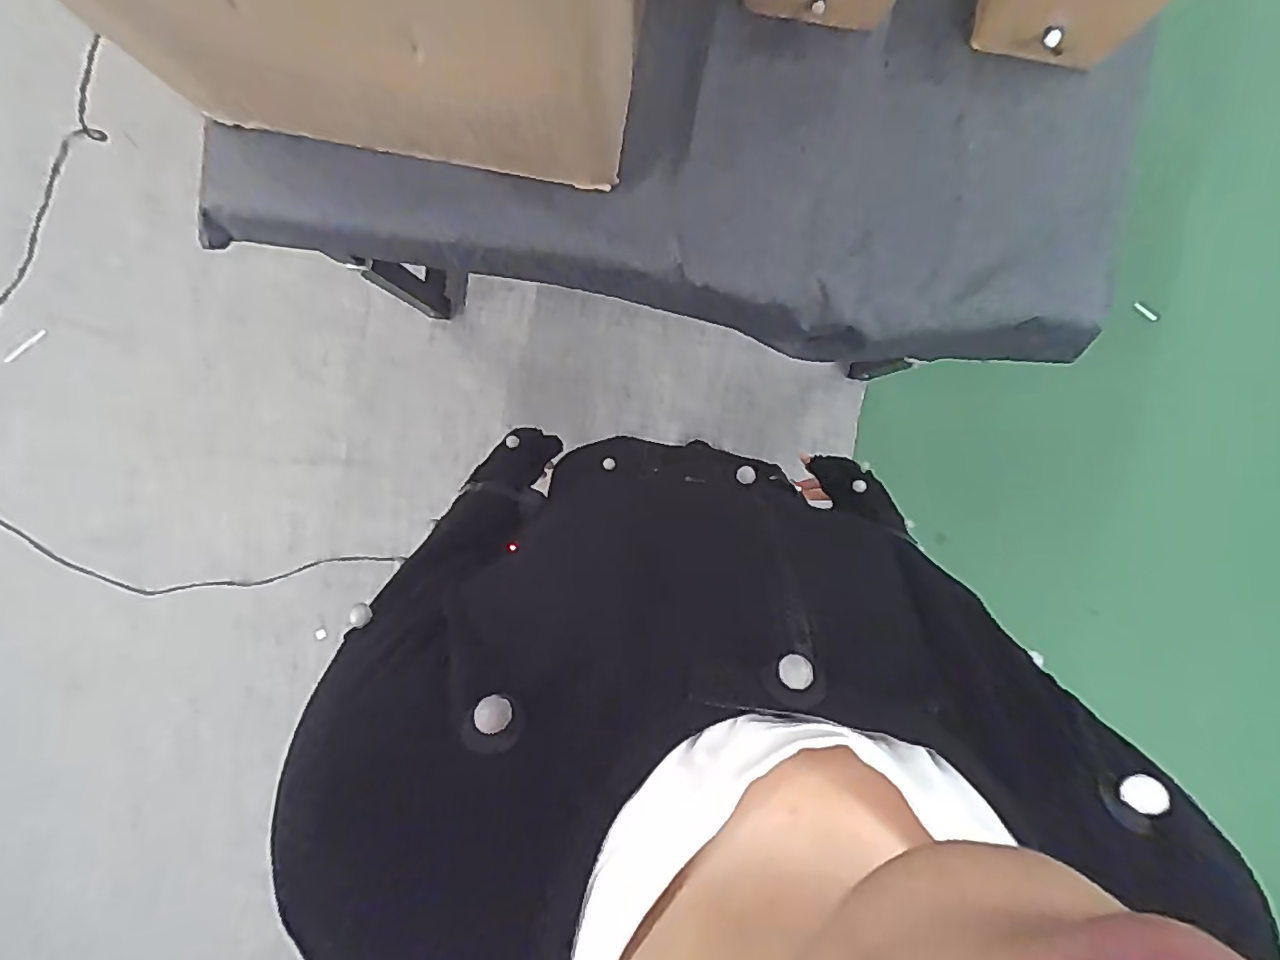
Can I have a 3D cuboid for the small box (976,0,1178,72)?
[{"bbox_3d":[0.526,-0.627,0.620,0.168,0.176,0.179,11,95,-1],"label":"small box"}]
